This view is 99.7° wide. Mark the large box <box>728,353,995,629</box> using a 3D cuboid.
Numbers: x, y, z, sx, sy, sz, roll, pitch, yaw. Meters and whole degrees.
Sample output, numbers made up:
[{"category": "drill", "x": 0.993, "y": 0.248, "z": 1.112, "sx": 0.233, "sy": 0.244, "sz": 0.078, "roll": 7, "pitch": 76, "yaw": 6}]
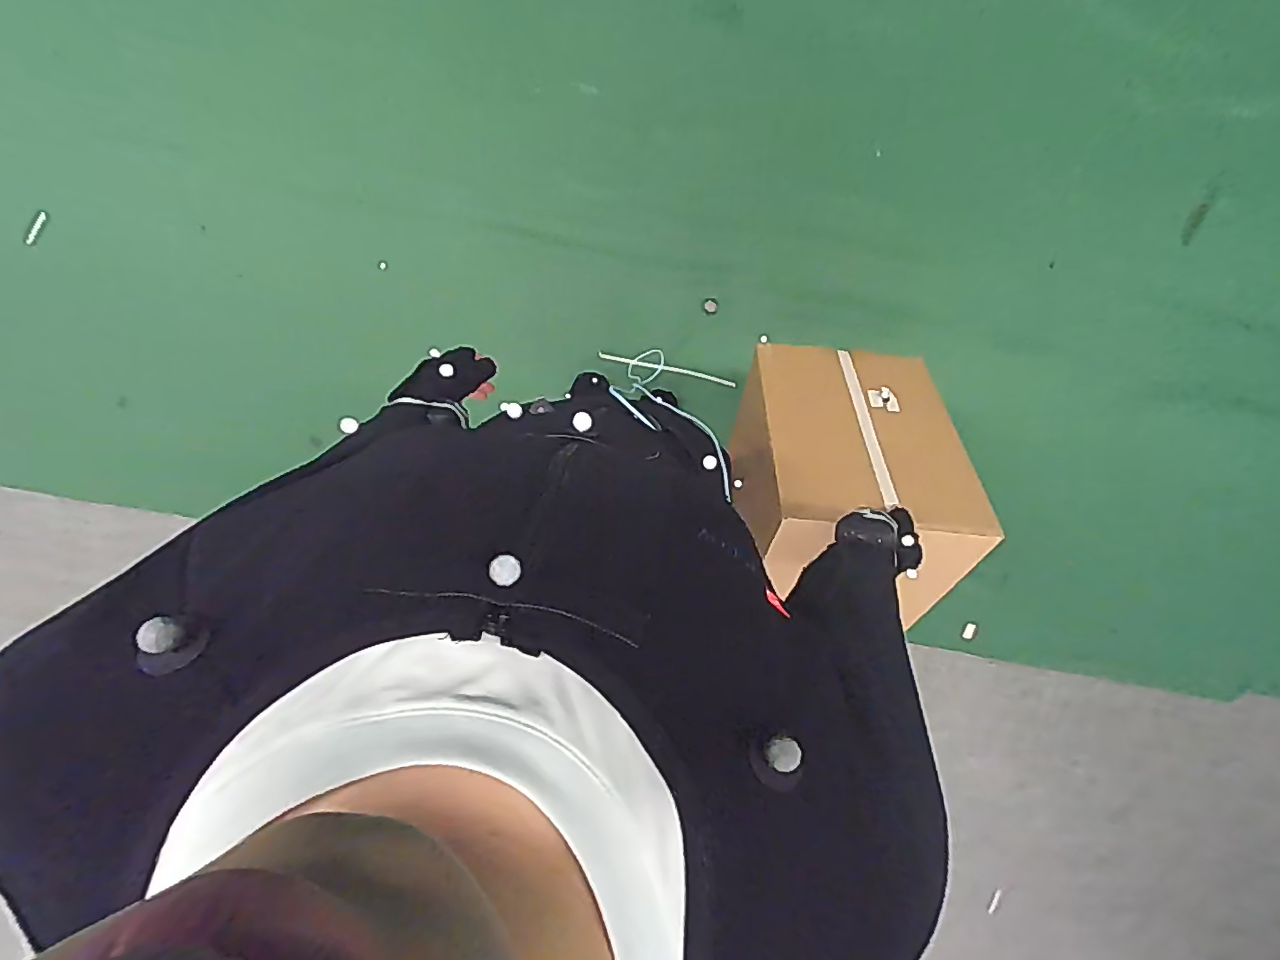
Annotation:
[{"category": "large box", "x": 0.350, "y": 0.020, "z": 1.000, "sx": 0.320, "sy": 0.408, "sz": 0.320, "roll": 6, "pitch": 139, "yaw": -2}]
